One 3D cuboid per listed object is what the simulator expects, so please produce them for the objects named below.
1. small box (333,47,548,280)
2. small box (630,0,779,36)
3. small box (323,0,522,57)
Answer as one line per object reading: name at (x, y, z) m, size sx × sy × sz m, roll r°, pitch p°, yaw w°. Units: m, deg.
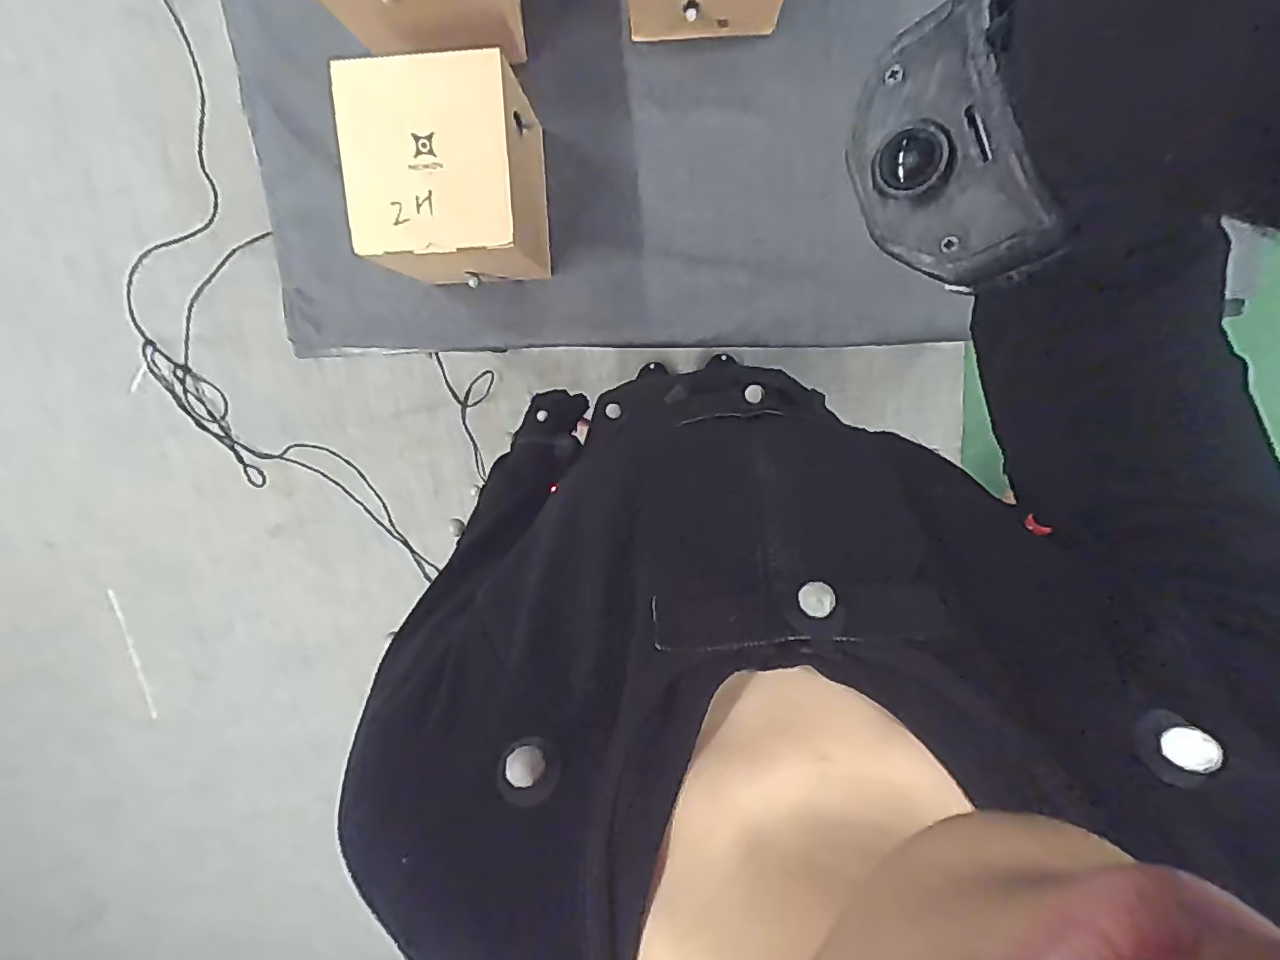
small box at (-0.202, -0.329, 0.596) m, size 0.168 × 0.176 × 0.179 m, roll -1°, pitch 101°, yaw 3°
small box at (0.066, -0.584, 0.529) m, size 0.168 × 0.176 × 0.179 m, roll -1°, pitch 104°, yaw 3°
small box at (-0.226, -0.560, 0.547) m, size 0.168 × 0.176 × 0.179 m, roll -3°, pitch 102°, yaw 4°
